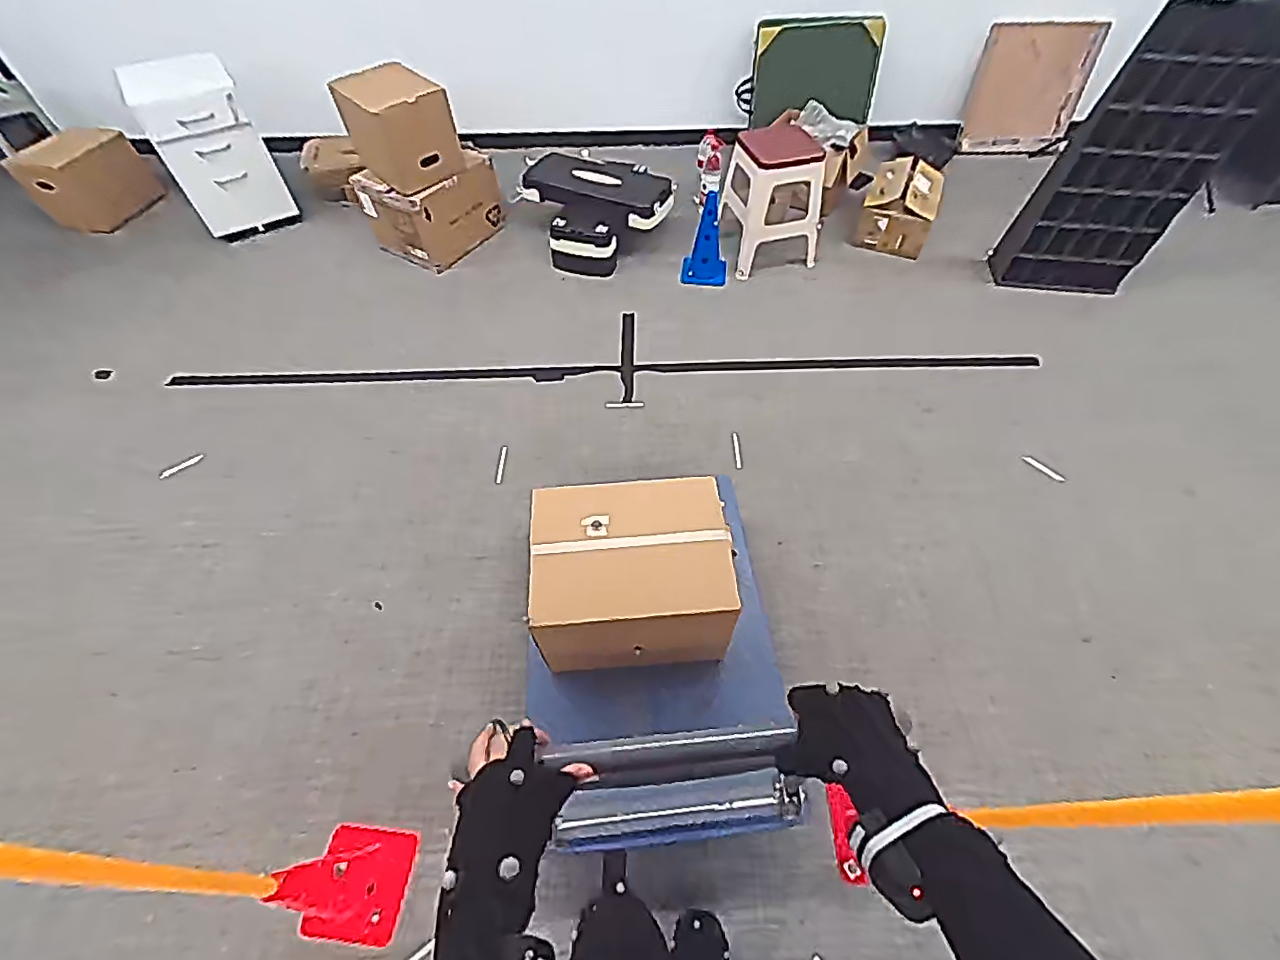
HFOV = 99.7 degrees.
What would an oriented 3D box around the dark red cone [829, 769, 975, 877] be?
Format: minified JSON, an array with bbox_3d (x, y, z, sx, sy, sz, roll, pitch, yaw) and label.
[{"bbox_3d":[0.536,0.658,1.060,0.201,0.394,0.202,0,55,-1],"label":"dark red cone"}]

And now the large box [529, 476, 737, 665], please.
[{"bbox_3d":[-0.020,0.214,1.229,0.408,0.320,0.320,-4,56,-2],"label":"large box"}]

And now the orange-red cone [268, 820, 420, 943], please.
[{"bbox_3d":[-0.594,0.756,1.028,0.198,0.360,0.199,6,53,4],"label":"orange-red cone"}]
